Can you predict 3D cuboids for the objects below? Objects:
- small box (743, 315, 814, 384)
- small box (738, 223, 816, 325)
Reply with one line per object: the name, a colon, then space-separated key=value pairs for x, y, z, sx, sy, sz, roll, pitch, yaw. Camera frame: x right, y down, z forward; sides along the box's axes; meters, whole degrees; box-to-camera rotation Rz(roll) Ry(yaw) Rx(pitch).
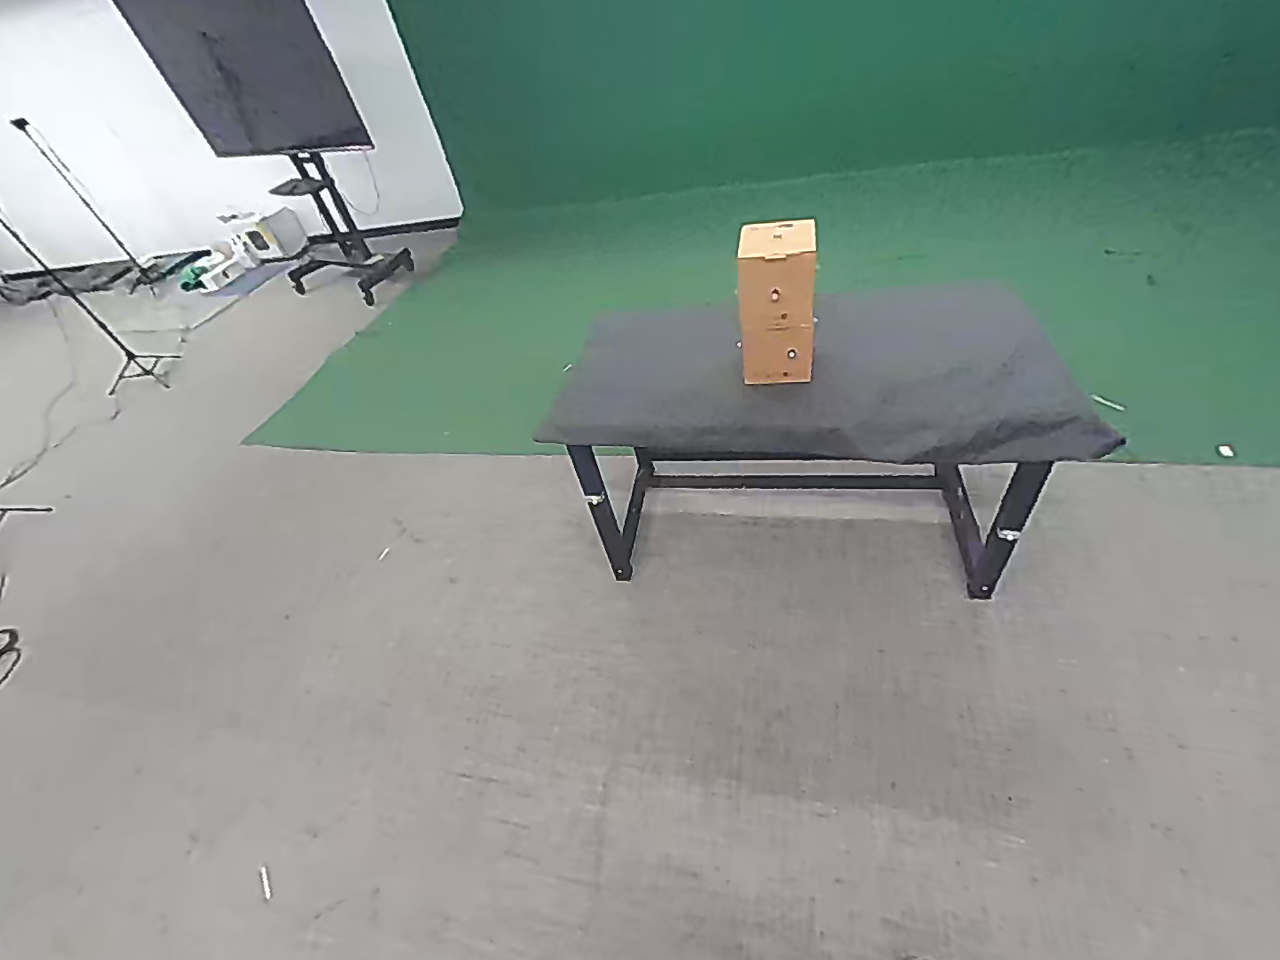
small box: x=0.352 y=-0.357 z=1.376 sx=0.168 sy=0.176 sz=0.179 roll=1 pitch=45 yaw=13
small box: x=0.323 y=-0.475 z=1.266 sx=0.168 sy=0.176 sz=0.179 roll=2 pitch=48 yaw=14
